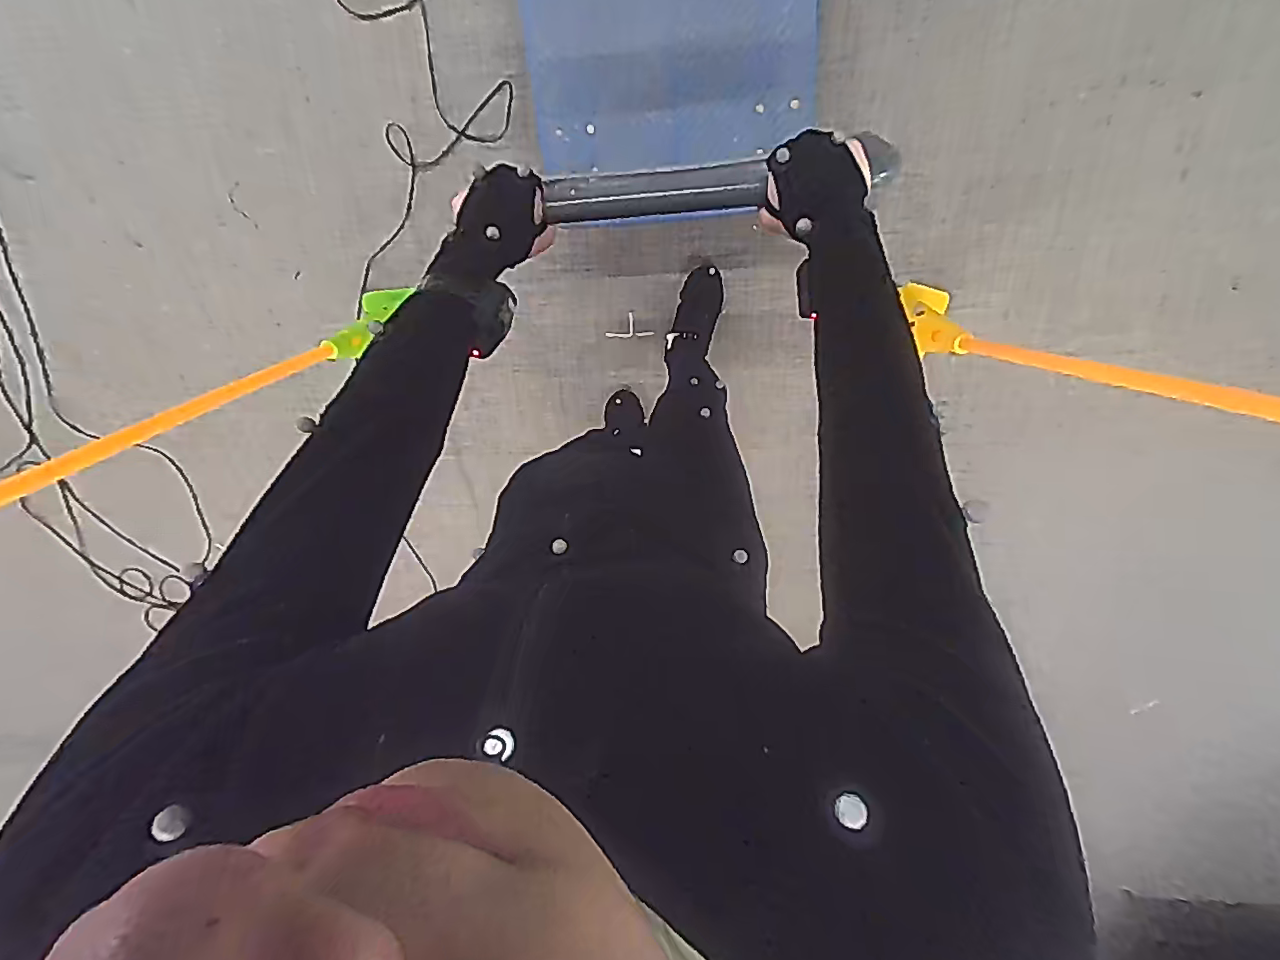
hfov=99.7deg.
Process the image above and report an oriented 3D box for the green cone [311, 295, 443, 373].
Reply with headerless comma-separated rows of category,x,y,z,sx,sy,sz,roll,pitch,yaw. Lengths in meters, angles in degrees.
green cone,-0.675,-0.338,1.340,0.202,0.368,0.200,-4,112,8
